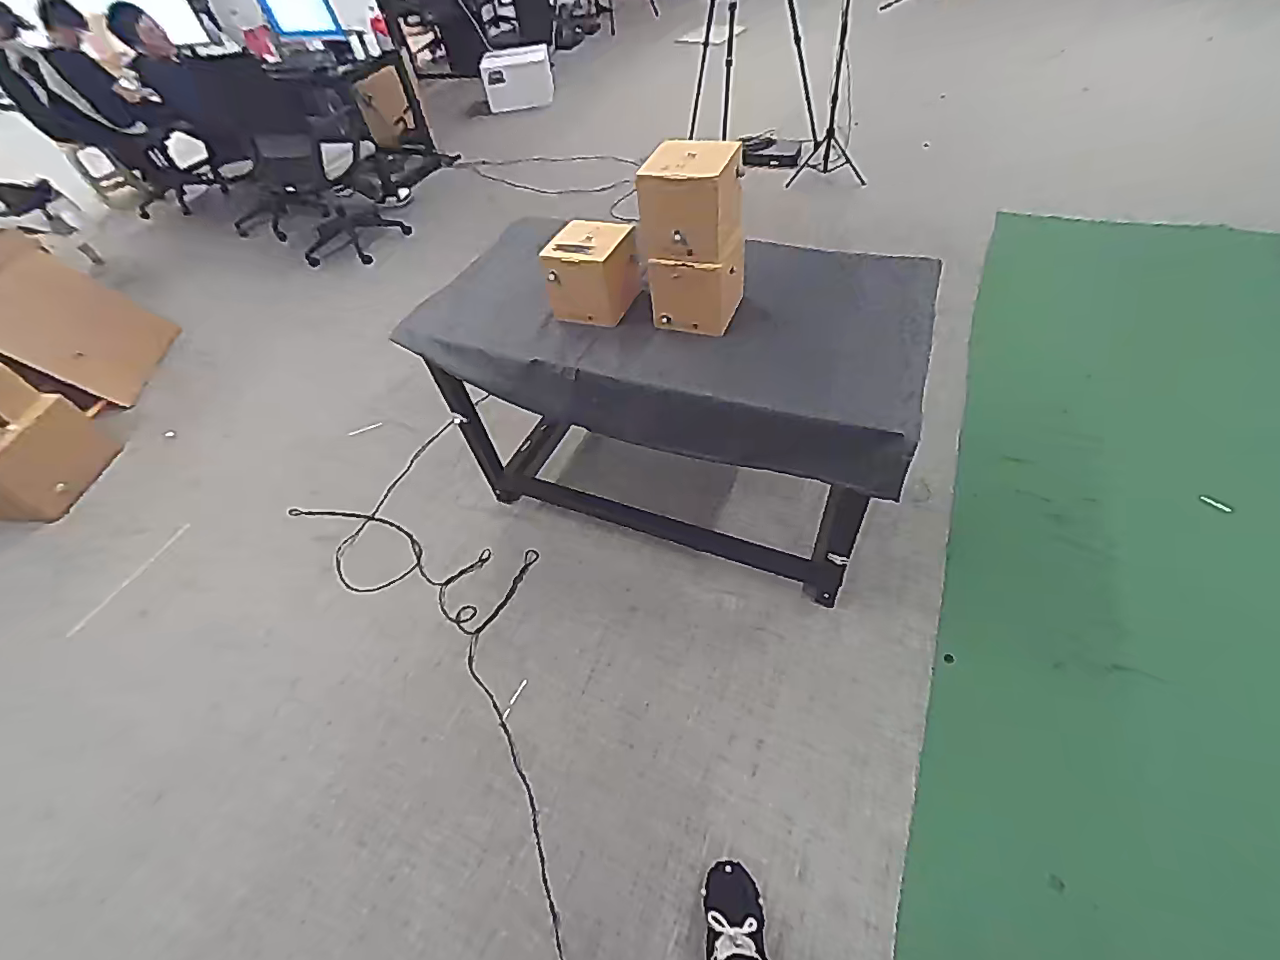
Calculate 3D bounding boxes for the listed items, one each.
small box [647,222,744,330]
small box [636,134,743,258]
[{"bbox_3d":[0.132,-0.461,1.215,0.168,0.176,0.179,14,54,19],"label":"small box"},{"bbox_3d":[0.106,-0.578,1.102,0.168,0.176,0.179,13,55,19],"label":"small box"}]
